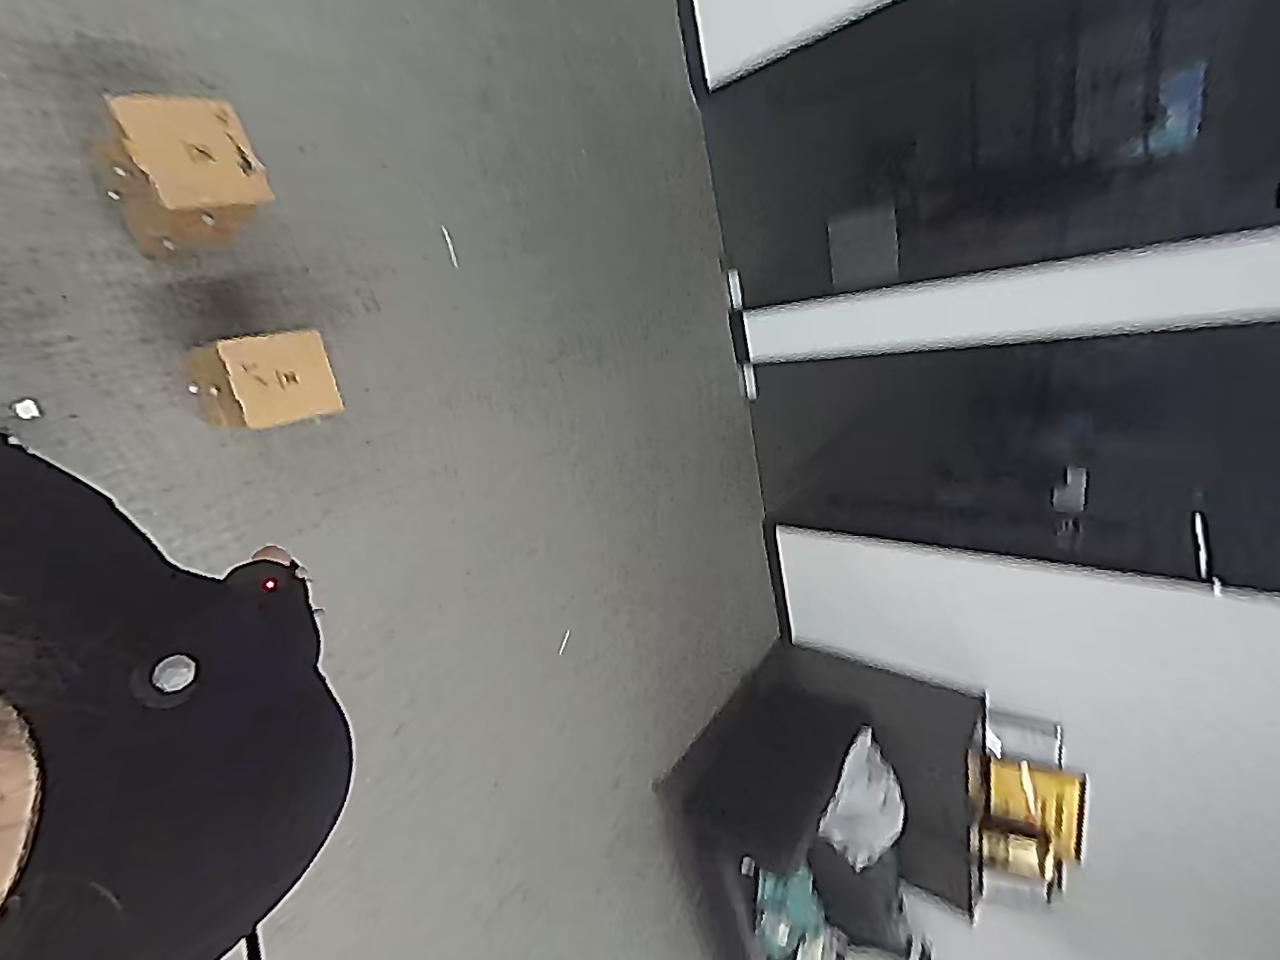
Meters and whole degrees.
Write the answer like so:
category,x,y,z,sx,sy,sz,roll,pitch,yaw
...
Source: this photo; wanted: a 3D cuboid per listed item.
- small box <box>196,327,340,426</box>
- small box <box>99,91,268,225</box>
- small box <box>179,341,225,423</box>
category,x,y,z,sx,sy,sz,roll,pitch,yaw
small box,-0.752,-0.211,1.096,0.179,0.176,0.168,-26,113,-44
small box,-0.820,-0.571,0.973,0.179,0.176,0.168,-34,119,-41
small box,-0.879,-0.226,1.201,0.179,0.176,0.168,-23,112,-44
